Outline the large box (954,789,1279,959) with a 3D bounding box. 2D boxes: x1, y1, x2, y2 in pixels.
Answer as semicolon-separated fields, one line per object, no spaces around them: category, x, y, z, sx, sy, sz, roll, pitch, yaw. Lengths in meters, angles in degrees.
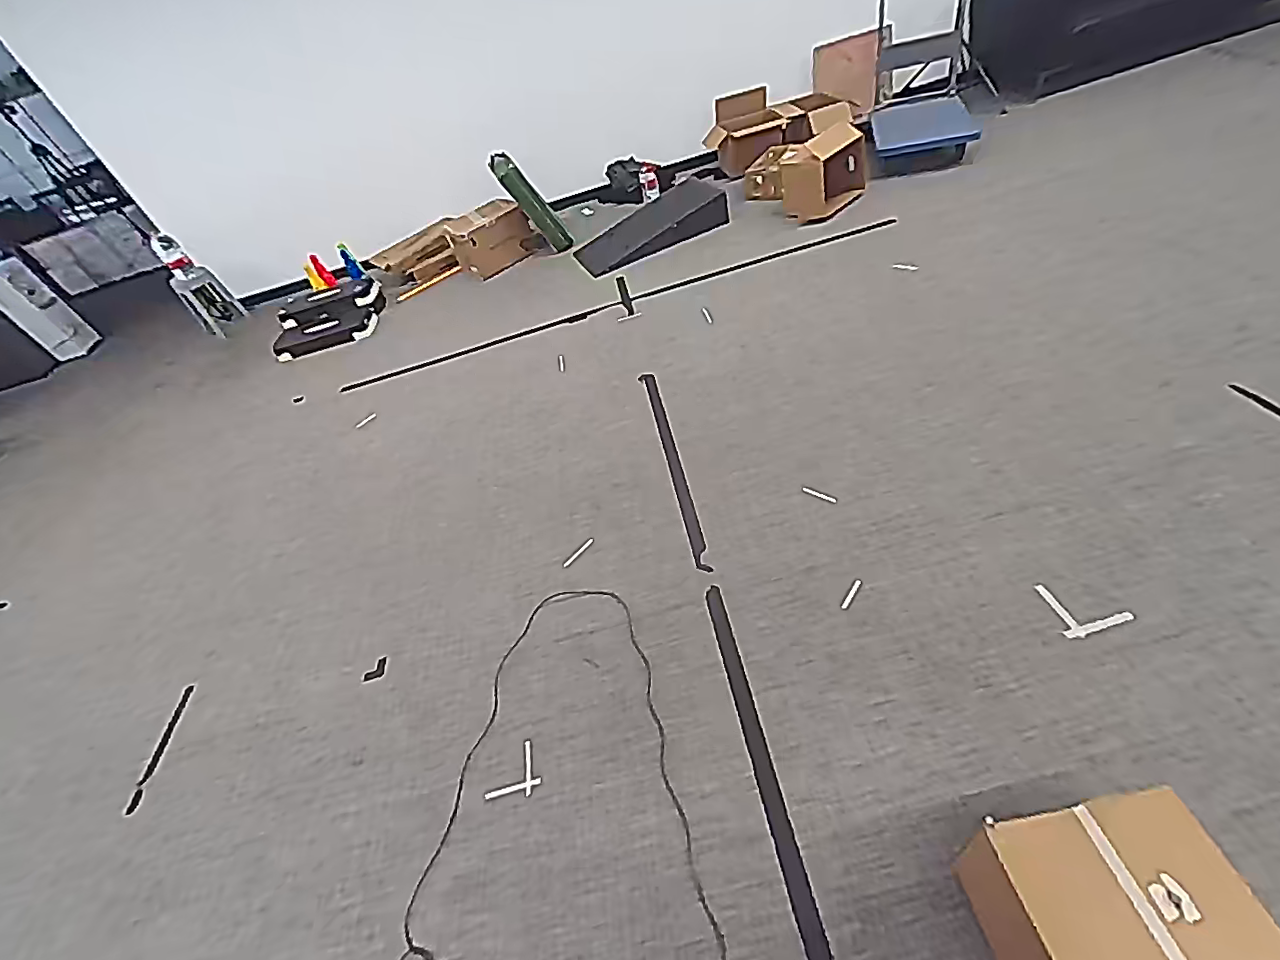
large box;0.792;0.798;0.879;0.320;0.320;0.408;-14;43;3
